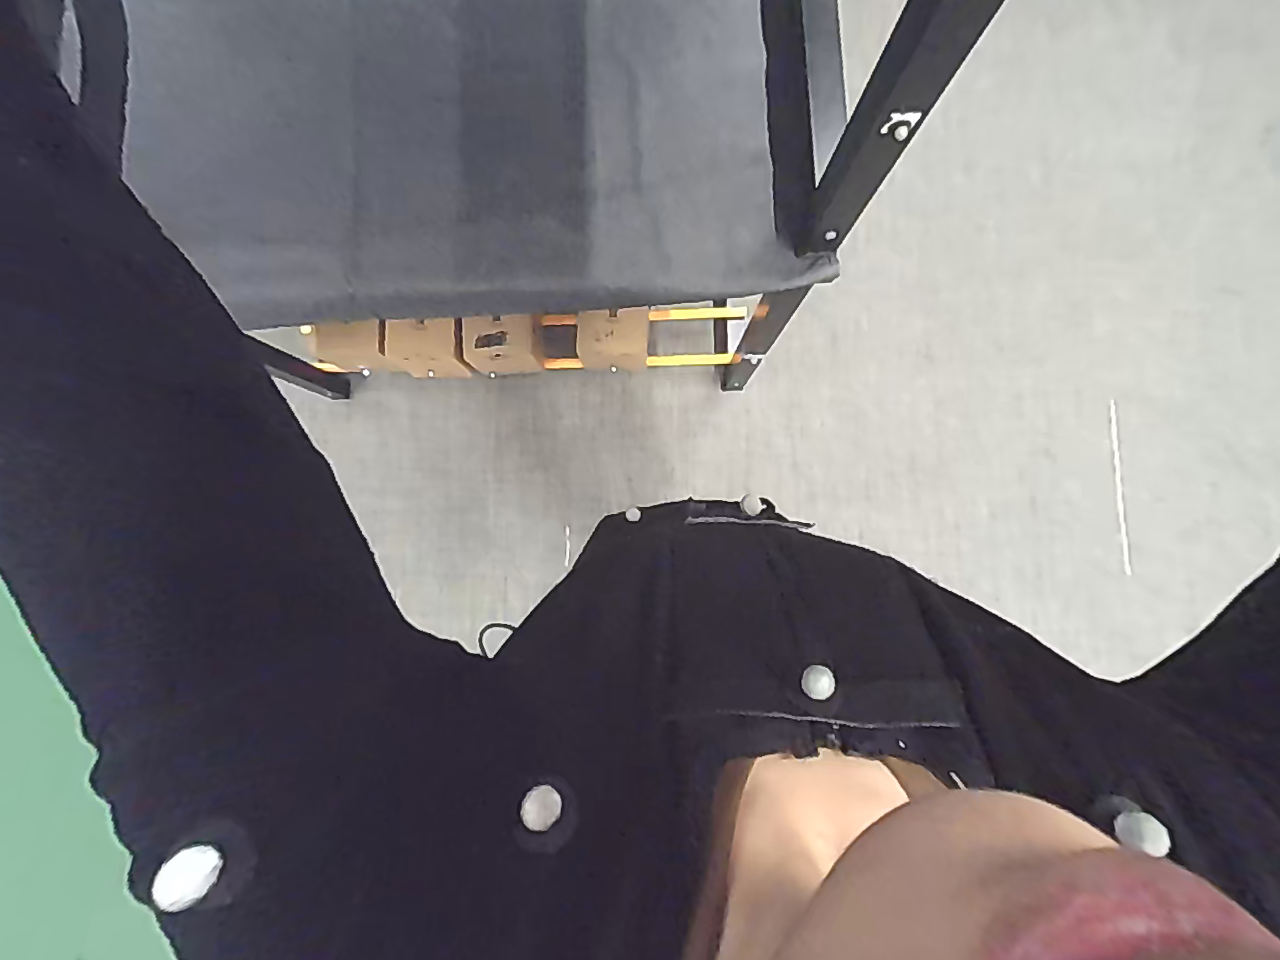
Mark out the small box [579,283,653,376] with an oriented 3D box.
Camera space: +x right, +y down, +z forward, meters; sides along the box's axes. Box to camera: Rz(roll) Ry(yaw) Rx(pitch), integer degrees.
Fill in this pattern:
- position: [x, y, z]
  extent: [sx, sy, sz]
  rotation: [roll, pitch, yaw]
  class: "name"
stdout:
- position: [-0.055, -0.375, 1.368]
  extent: [0.168, 0.176, 0.179]
  rotation: [4, 87, 2]
  class: "small box"
